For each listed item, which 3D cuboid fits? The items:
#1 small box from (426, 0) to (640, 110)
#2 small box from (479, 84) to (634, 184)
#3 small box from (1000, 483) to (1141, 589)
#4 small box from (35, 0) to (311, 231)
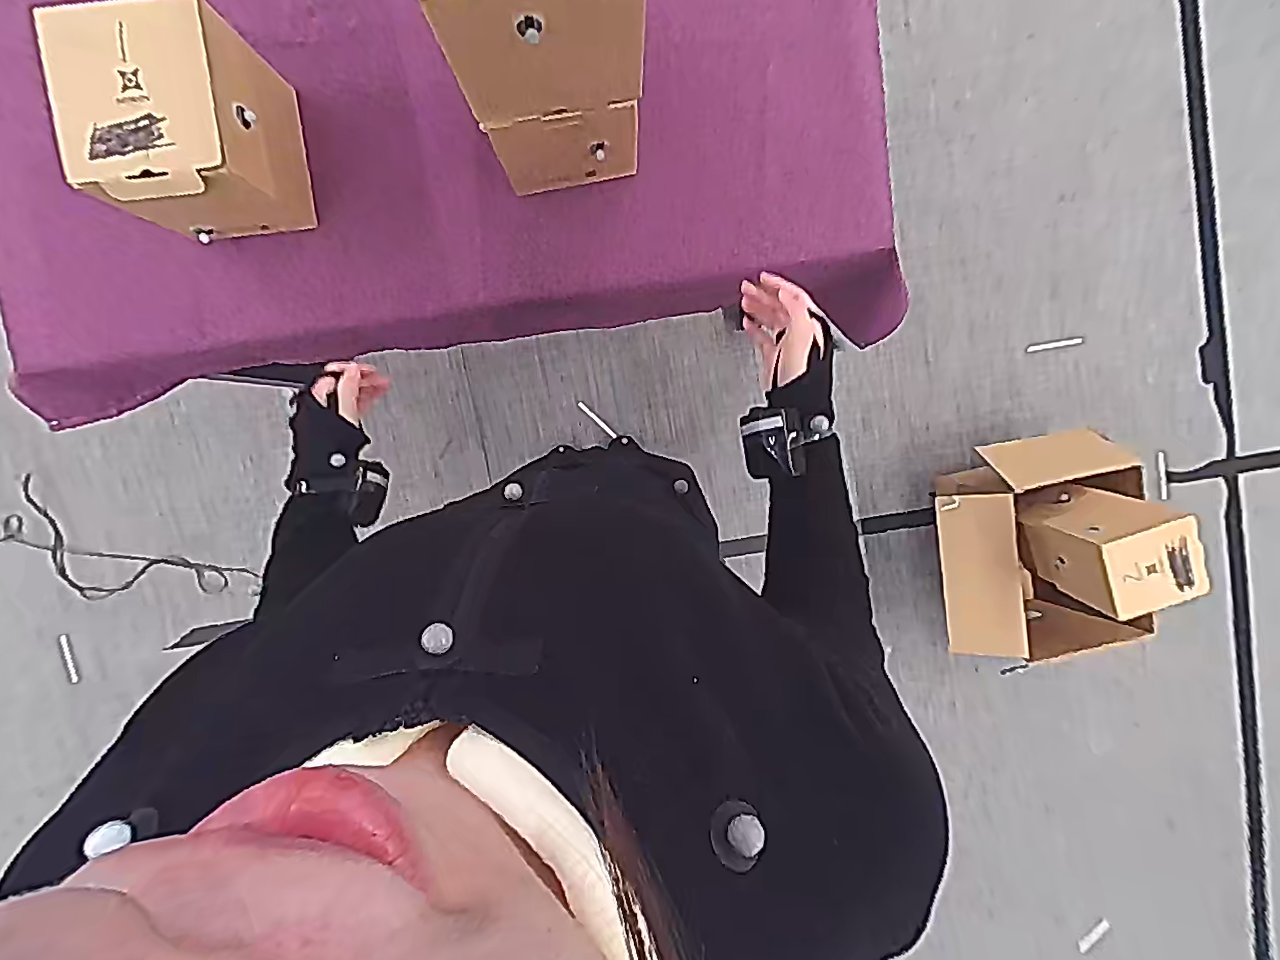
[{"bbox_3d":[-0.094,-0.457,0.469,0.179,0.176,0.168,-9,97,-1],"label":"small box"},{"bbox_3d":[-0.099,-0.473,0.633,0.168,0.176,0.179,-10,96,-1],"label":"small box"},{"bbox_3d":[0.994,0.120,1.266,0.168,0.176,0.179,-31,99,6],"label":"small box"},{"bbox_3d":[-0.518,-0.407,0.630,0.168,0.176,0.179,-7,95,-1],"label":"small box"}]
